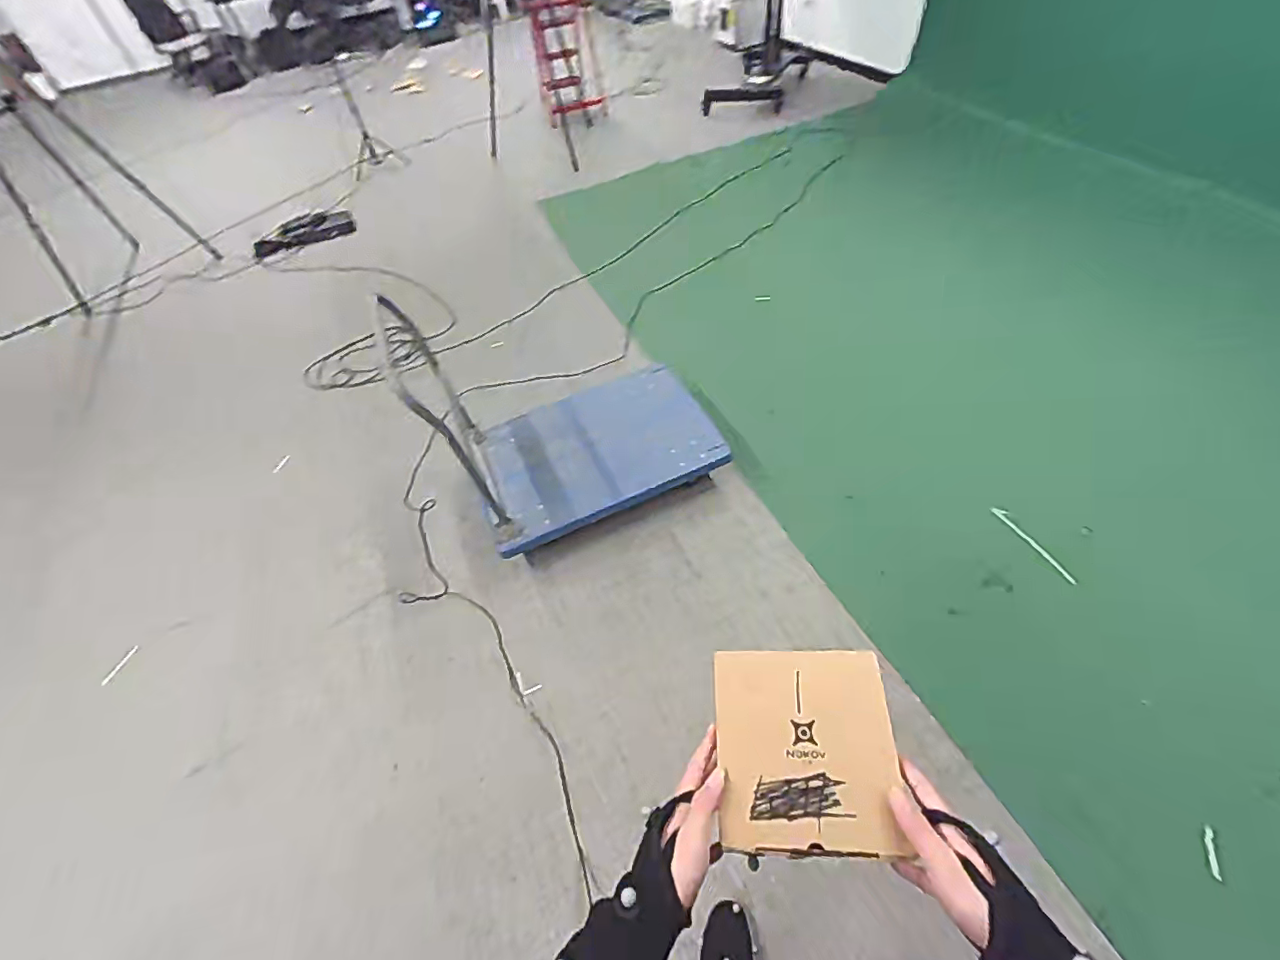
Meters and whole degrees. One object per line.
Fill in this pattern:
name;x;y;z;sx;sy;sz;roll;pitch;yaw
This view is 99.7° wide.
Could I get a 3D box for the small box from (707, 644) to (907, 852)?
small box;0.160;0.287;0.576;0.168;0.176;0.179;-3;55;7
